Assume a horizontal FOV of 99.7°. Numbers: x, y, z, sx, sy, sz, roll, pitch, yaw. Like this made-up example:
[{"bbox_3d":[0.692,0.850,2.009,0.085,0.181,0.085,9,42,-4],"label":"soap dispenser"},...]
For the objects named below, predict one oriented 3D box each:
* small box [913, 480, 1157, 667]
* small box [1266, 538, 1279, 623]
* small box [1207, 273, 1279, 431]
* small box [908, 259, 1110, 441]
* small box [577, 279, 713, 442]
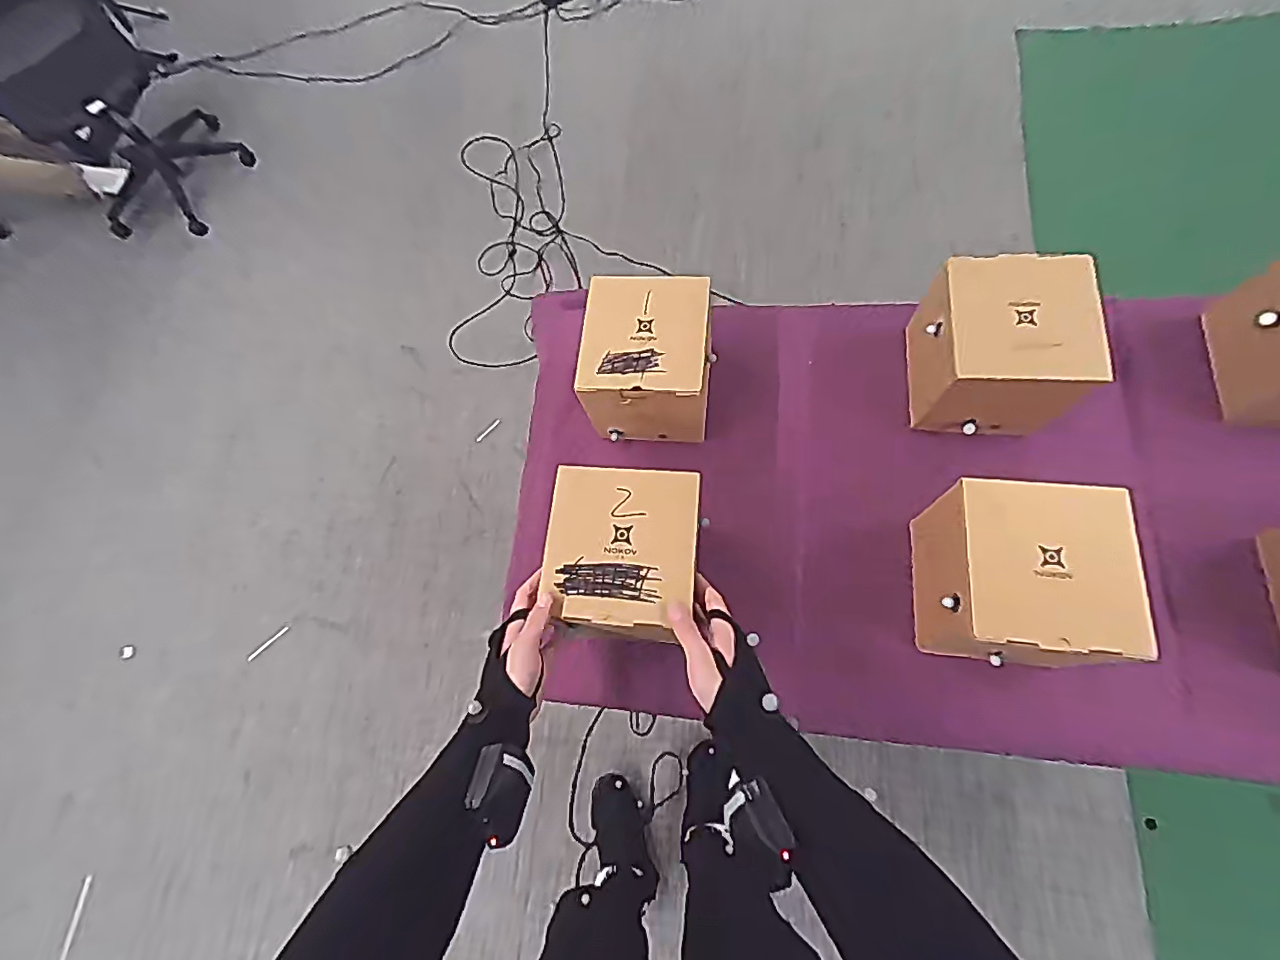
[{"bbox_3d":[0.432,0.115,0.629,0.168,0.176,0.179,4,71,9],"label":"small box"},{"bbox_3d":[0.831,0.133,0.562,0.168,0.176,0.179,4,70,11],"label":"small box"},{"bbox_3d":[0.865,-0.170,0.664,0.168,0.176,0.179,3,73,11],"label":"small box"},{"bbox_3d":[0.472,-0.168,0.724,0.168,0.176,0.179,4,73,10],"label":"small box"},{"bbox_3d":[0.018,-0.165,0.783,0.168,0.176,0.179,4,72,9],"label":"small box"}]
